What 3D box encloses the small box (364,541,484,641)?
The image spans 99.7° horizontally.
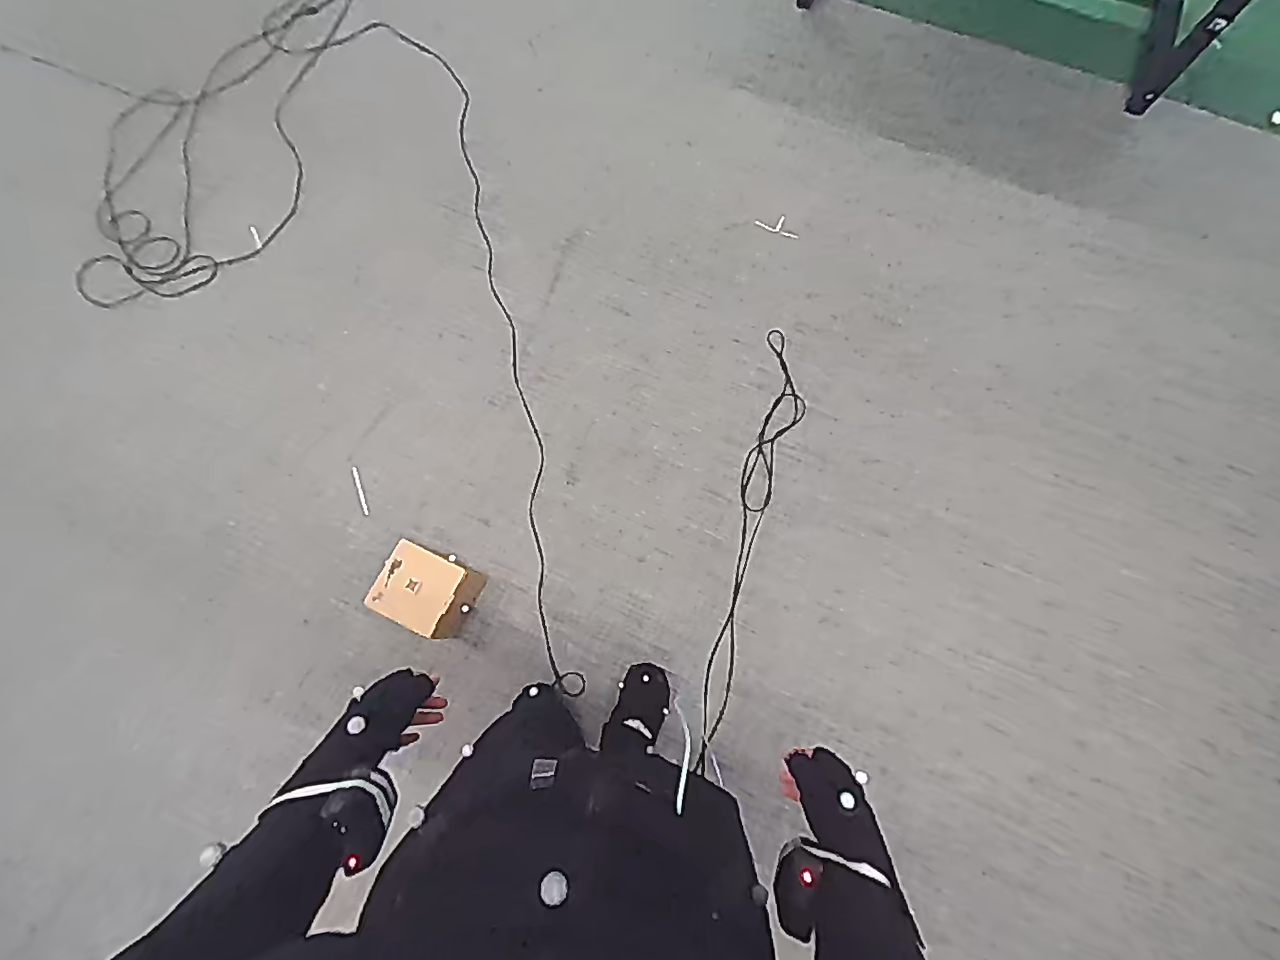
[{"bbox_3d":[-0.495,0.261,1.270,0.179,0.176,0.168,25,76,7],"label":"small box"}]
